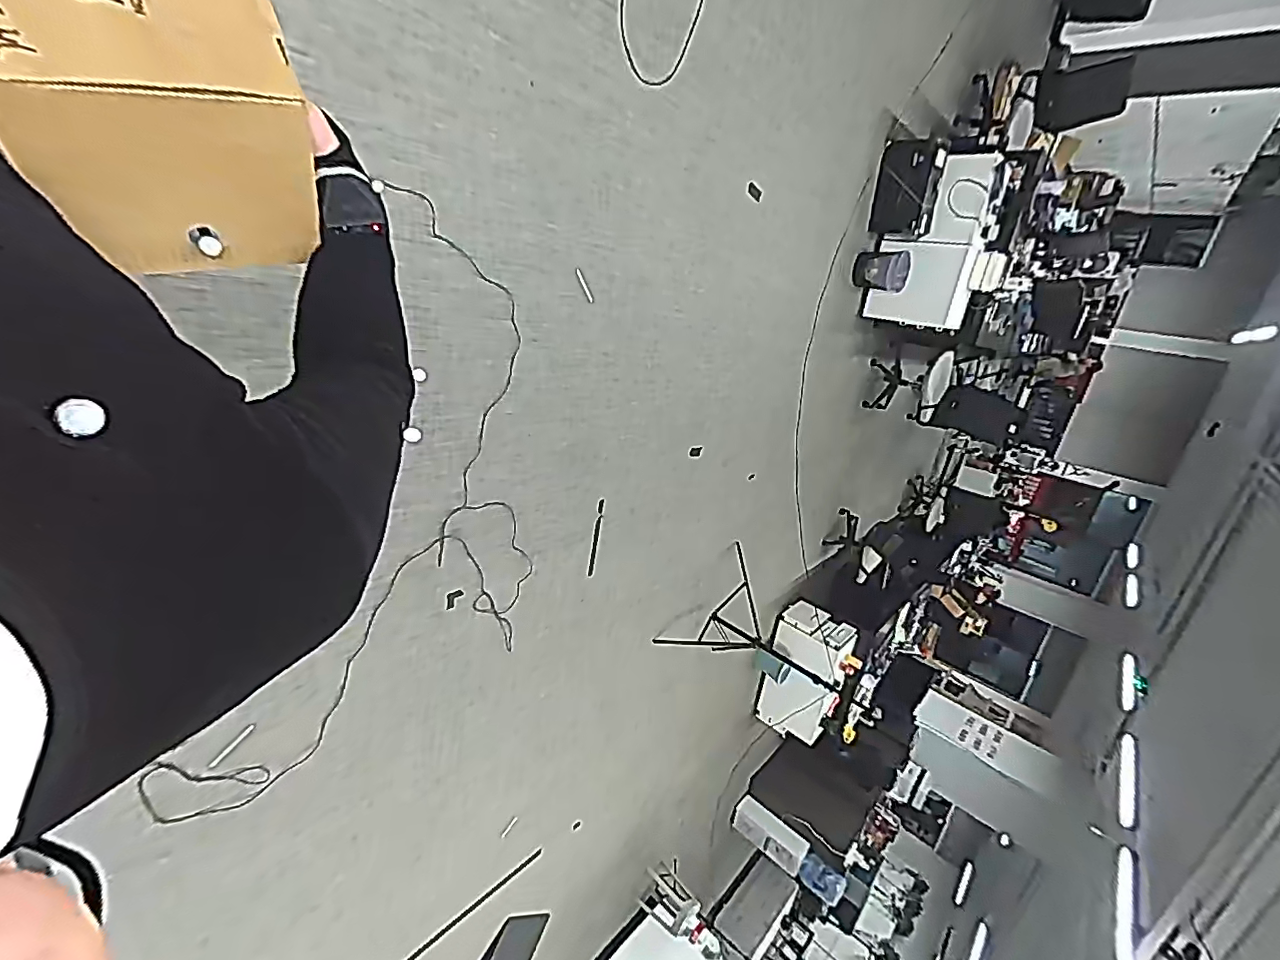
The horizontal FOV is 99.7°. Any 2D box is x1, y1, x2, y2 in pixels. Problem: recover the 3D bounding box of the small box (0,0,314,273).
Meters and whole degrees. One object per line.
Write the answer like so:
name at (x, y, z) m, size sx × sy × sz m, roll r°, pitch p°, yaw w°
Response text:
small box at (-0.385, -0.293, 0.439) m, size 0.179 × 0.168 × 0.176 m, roll -21°, pitch 169°, yaw -33°
